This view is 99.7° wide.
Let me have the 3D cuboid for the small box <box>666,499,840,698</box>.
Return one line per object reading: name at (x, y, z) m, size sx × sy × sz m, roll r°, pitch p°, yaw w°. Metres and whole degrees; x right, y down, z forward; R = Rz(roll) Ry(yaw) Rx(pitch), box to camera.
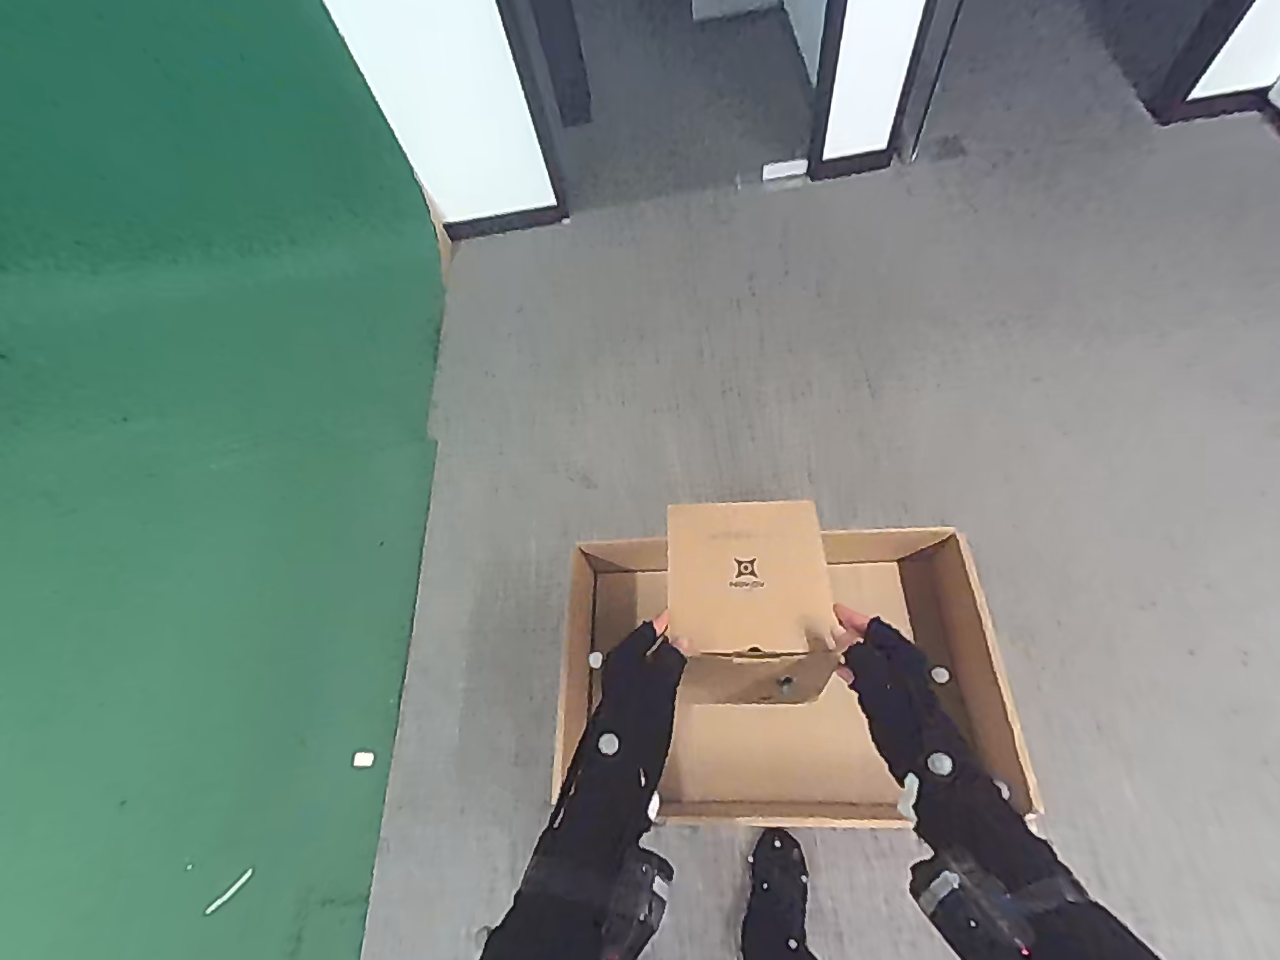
small box at (0.116, 0.140, 0.619) m, size 0.168 × 0.176 × 0.179 m, roll -1°, pitch 52°, yaw 4°
